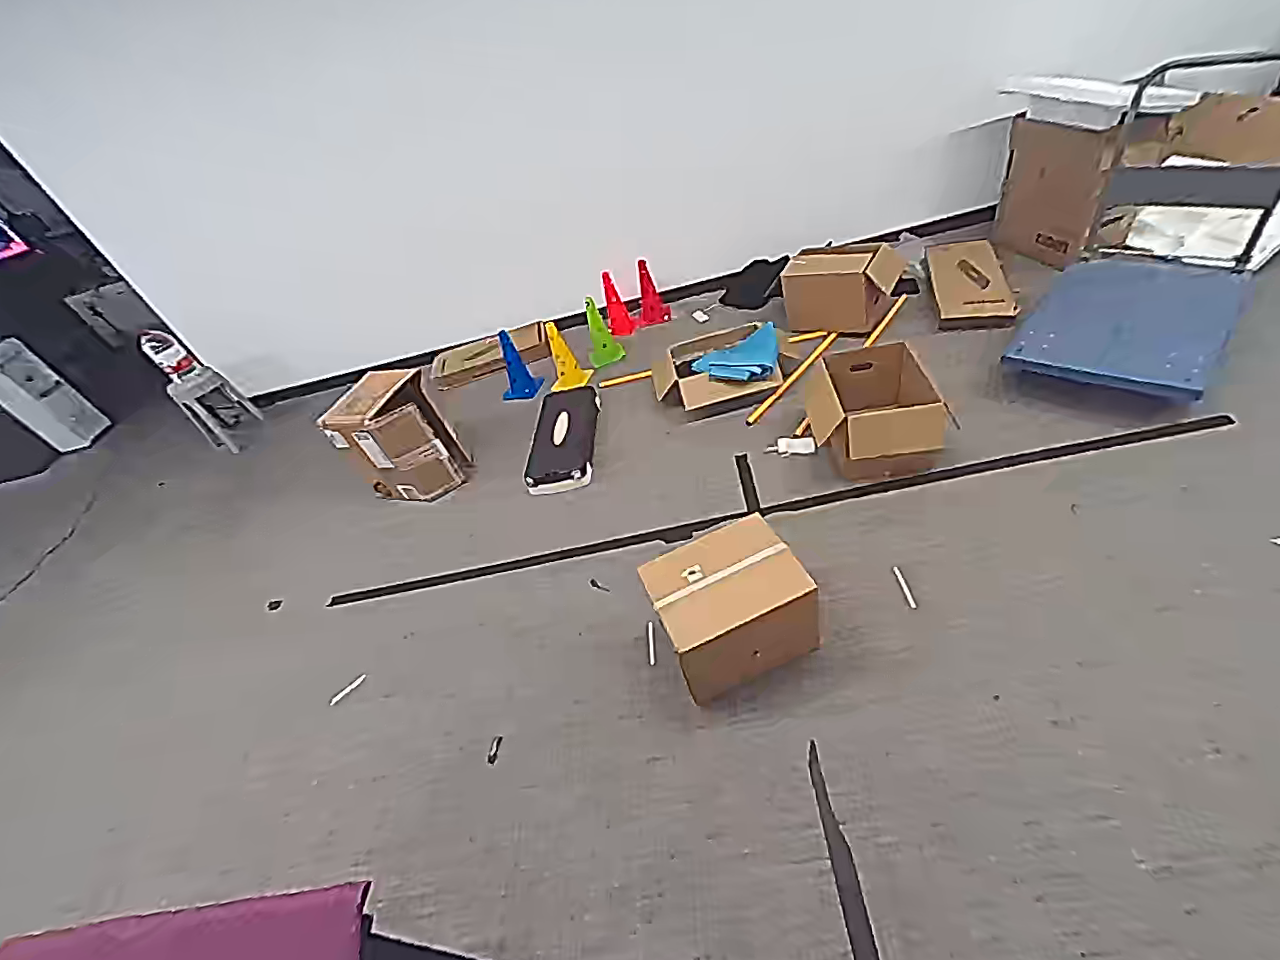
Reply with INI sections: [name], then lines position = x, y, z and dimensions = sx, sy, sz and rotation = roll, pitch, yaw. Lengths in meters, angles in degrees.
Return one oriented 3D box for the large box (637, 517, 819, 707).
[large box]
position = 0.259, 0.381, 1.571
dimensions = 0.408, 0.320, 0.320
rotation = -25, 41, -6
